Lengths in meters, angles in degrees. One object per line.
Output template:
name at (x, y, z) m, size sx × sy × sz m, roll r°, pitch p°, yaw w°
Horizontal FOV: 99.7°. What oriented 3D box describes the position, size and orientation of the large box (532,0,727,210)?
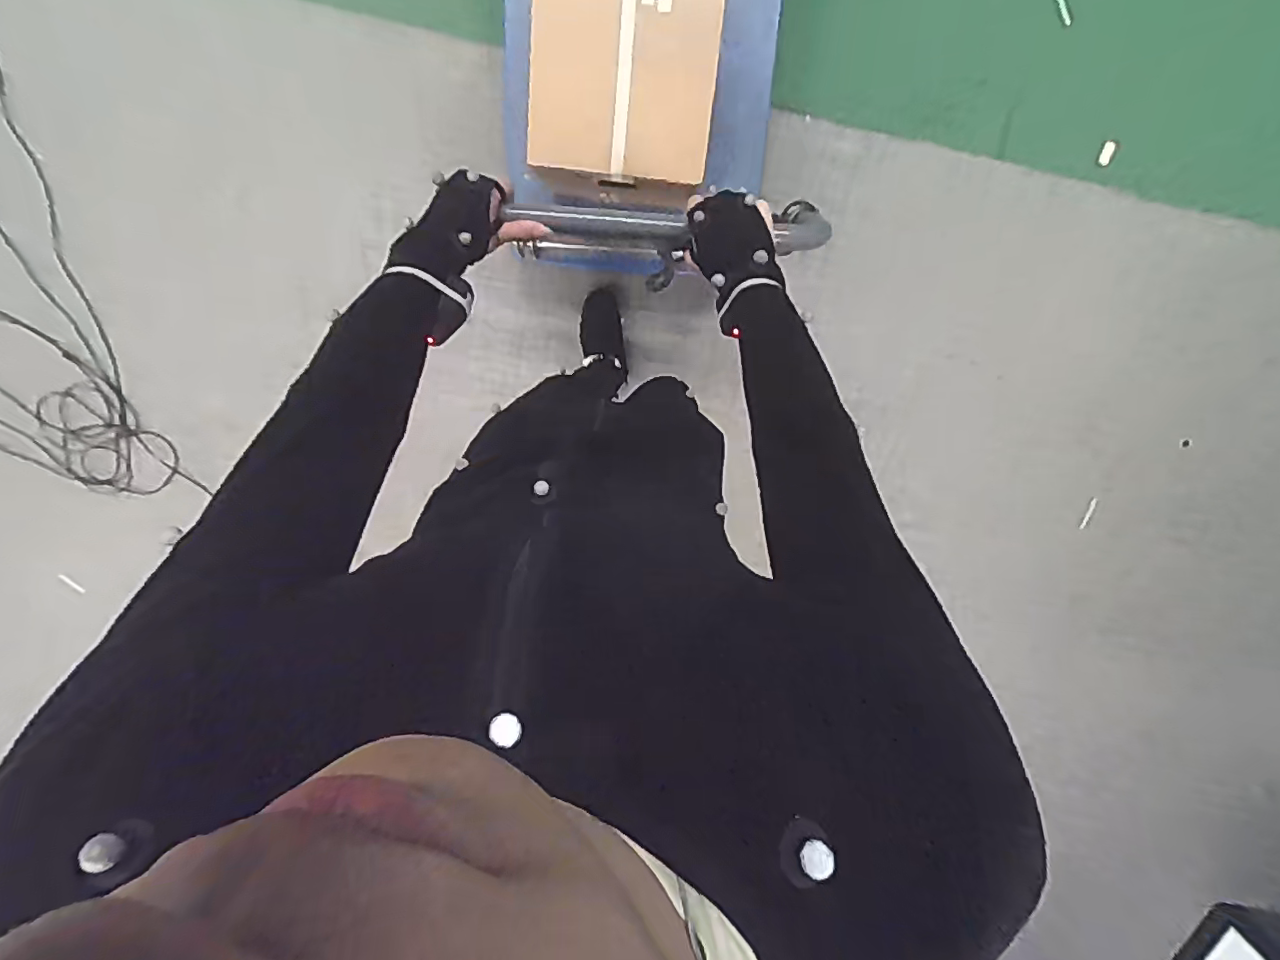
large box at (-0.020, -0.770, 1.036) m, size 0.320 × 0.320 × 0.408 m, roll 6°, pitch 108°, yaw -3°
